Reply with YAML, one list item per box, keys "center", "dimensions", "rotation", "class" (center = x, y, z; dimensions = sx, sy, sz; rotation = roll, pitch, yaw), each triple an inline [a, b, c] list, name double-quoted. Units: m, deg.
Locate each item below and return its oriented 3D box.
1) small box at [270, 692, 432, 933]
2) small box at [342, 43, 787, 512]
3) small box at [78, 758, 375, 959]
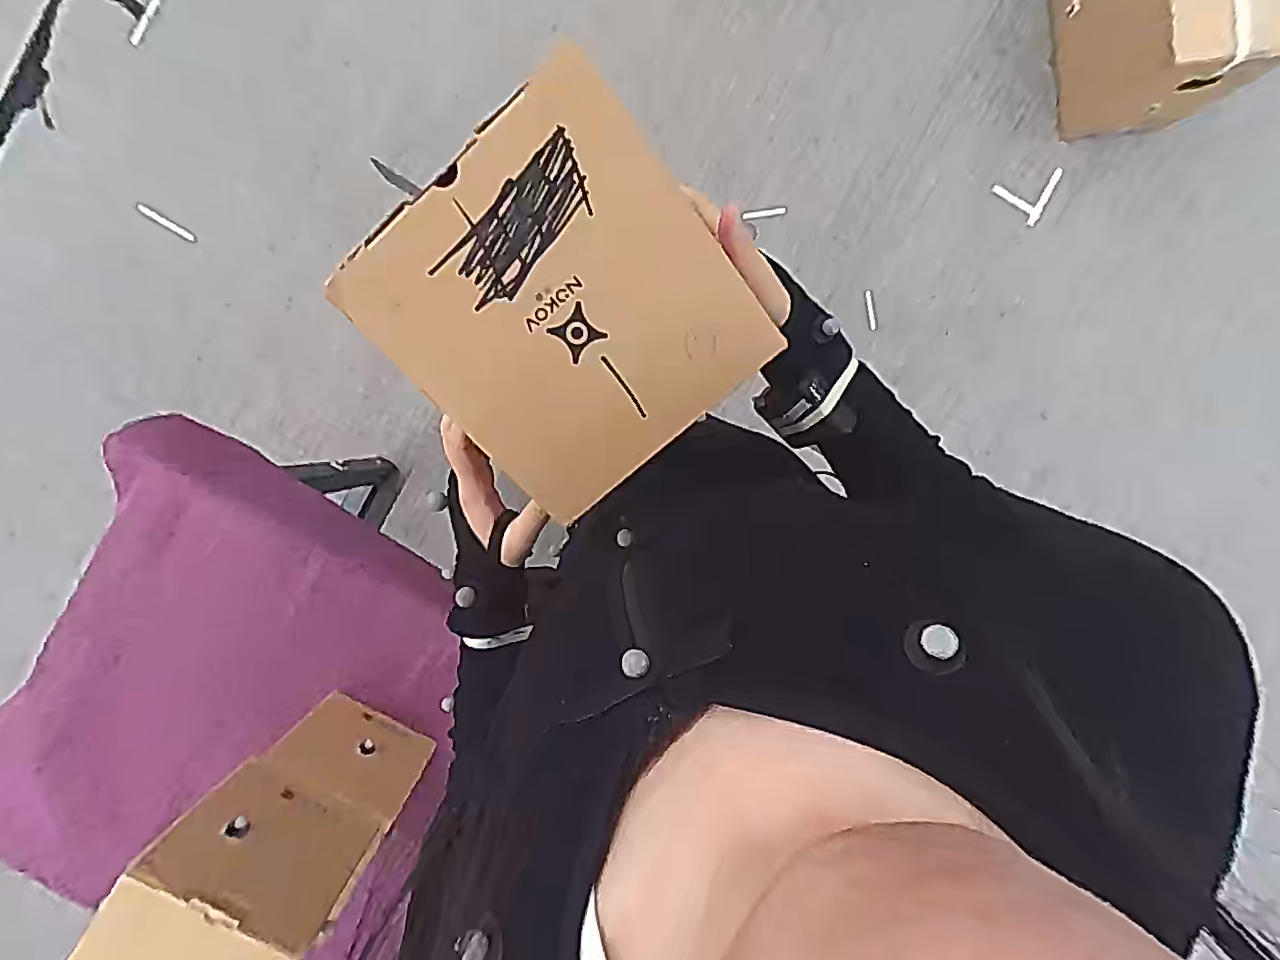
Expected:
- center: [-0.399, 0.416, 0.708]
  dimensions: [0.168, 0.176, 0.179]
  rotation: [30, 93, -5]
  class: "small box"
- center: [-0.042, -0.116, 0.356]
  dimensions: [0.168, 0.176, 0.179]
  rotation: [-39, 110, 9]
  class: "small box"
- center: [-0.402, 0.427, 0.546]
  dimensions: [0.168, 0.176, 0.179]
  rotation: [32, 93, -4]
  class: "small box"
